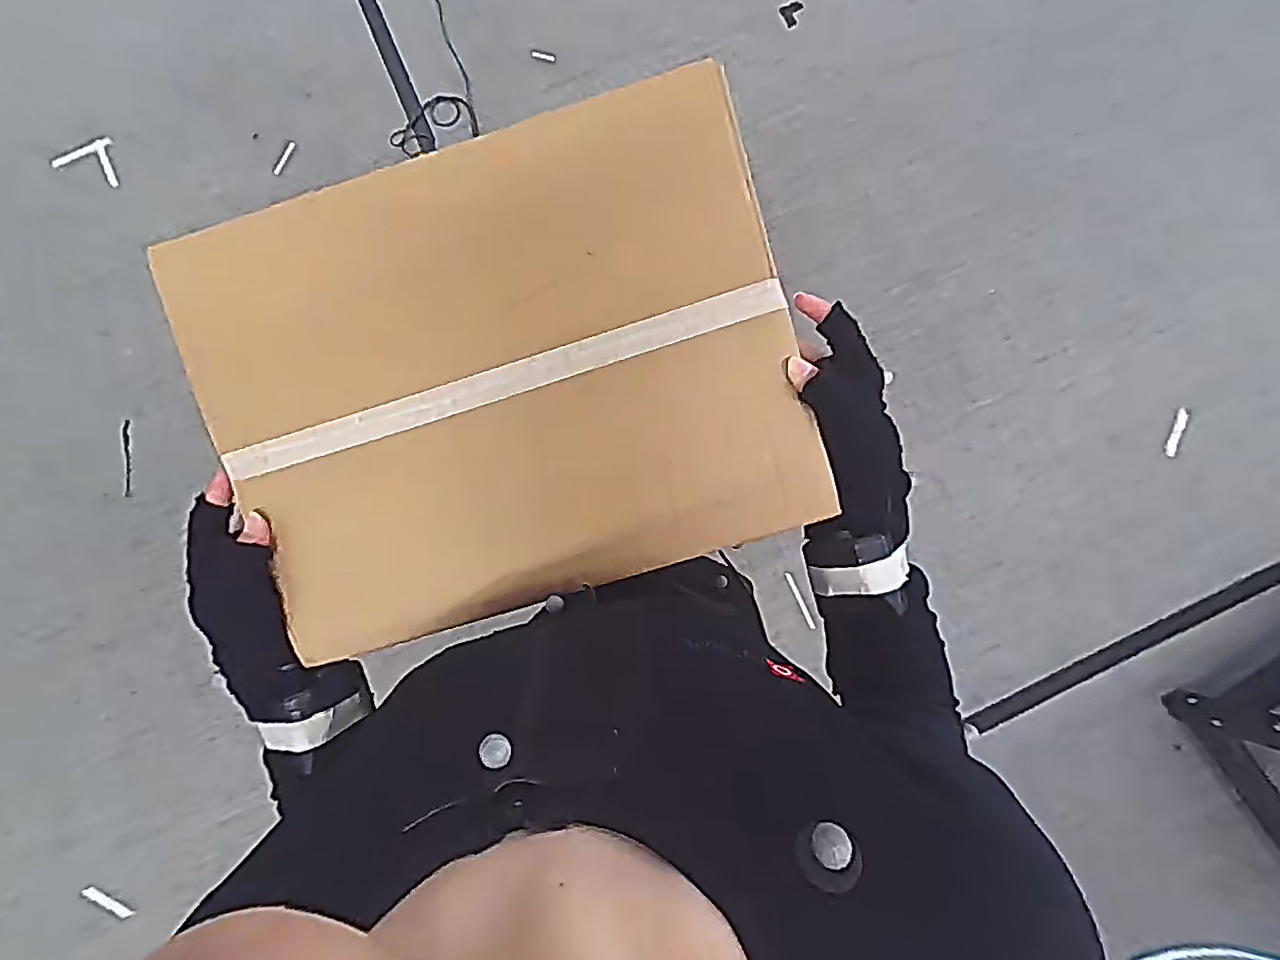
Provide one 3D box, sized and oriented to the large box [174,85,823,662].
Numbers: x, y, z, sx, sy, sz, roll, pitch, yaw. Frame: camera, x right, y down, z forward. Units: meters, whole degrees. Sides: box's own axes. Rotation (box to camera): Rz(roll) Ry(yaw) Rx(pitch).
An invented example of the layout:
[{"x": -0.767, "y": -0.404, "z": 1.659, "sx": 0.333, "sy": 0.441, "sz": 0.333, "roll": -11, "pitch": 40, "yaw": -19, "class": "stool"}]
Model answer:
[{"x": -0.095, "y": -0.080, "z": 0.534, "sx": 0.408, "sy": 0.320, "sz": 0.320, "roll": -17, "pitch": 94, "yaw": 3, "class": "large box"}]
